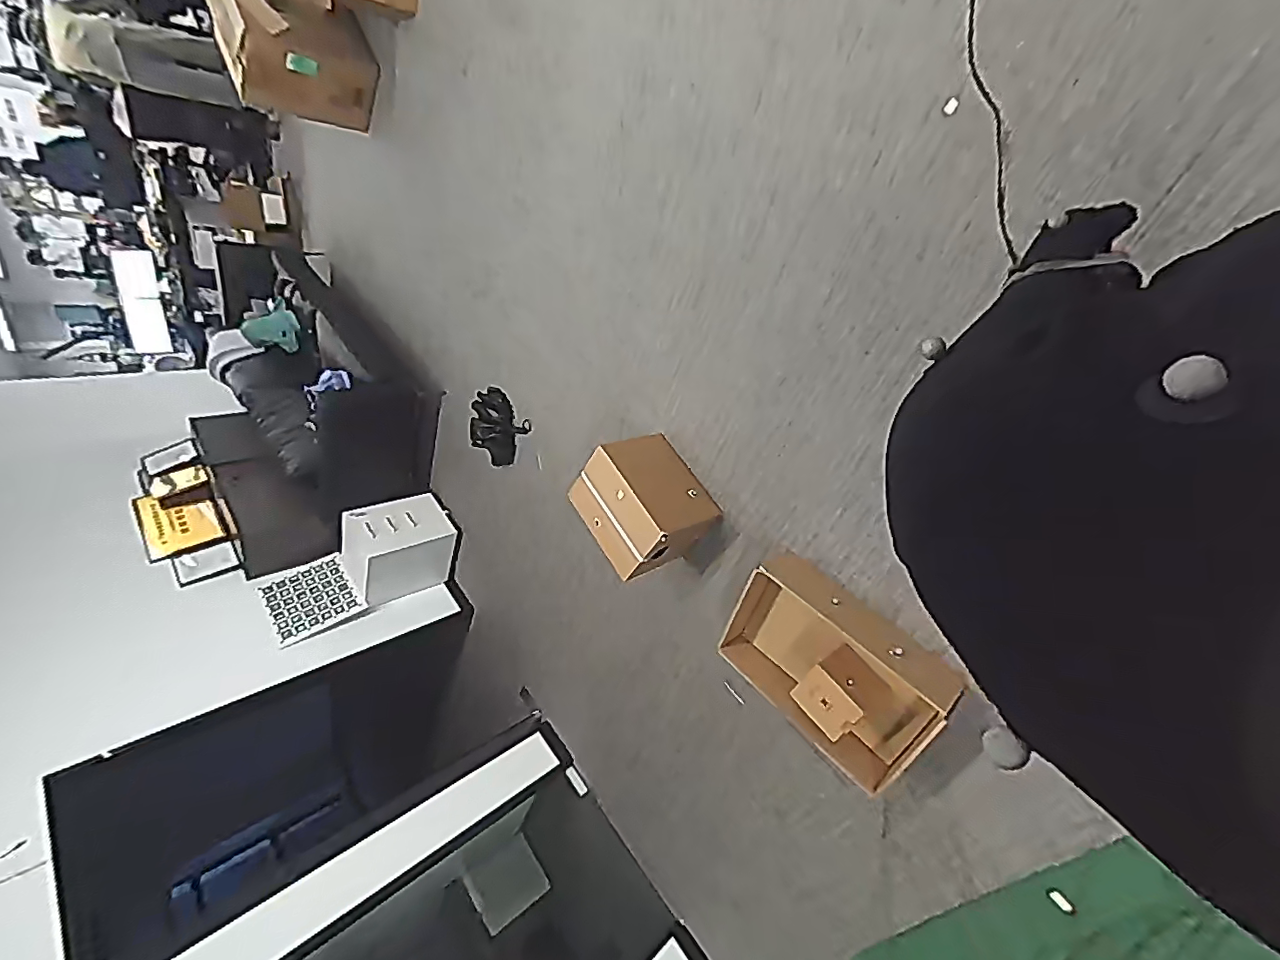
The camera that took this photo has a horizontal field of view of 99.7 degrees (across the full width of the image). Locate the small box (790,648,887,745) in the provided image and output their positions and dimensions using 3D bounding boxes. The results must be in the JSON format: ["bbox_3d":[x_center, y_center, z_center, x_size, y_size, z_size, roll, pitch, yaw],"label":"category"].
[{"bbox_3d":[0.588,0.631,1.595,0.179,0.176,0.168,47,131,30],"label":"small box"}]
